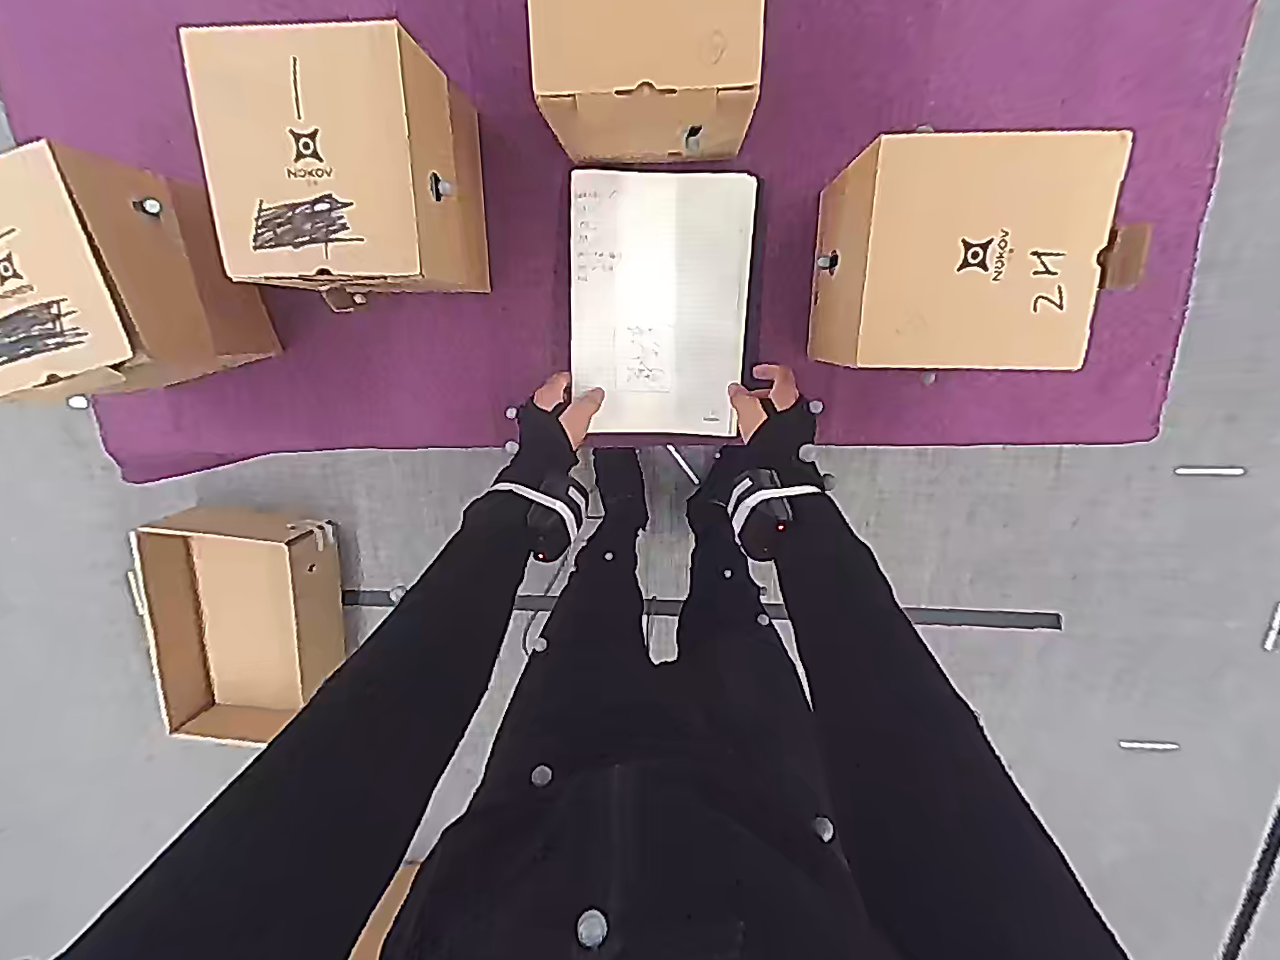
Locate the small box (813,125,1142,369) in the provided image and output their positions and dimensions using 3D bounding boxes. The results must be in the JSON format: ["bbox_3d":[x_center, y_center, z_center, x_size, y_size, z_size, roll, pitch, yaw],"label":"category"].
[{"bbox_3d":[0.261,-0.187,0.472,0.179,0.176,0.168,2,106,3],"label":"small box"}]

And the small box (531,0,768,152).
[{"bbox_3d":[0.012,-0.382,0.436,0.168,0.176,0.179,1,105,3],"label":"small box"}]

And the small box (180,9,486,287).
[{"bbox_3d":[-0.245,-0.270,0.483,0.168,0.176,0.179,1,105,3],"label":"small box"}]
